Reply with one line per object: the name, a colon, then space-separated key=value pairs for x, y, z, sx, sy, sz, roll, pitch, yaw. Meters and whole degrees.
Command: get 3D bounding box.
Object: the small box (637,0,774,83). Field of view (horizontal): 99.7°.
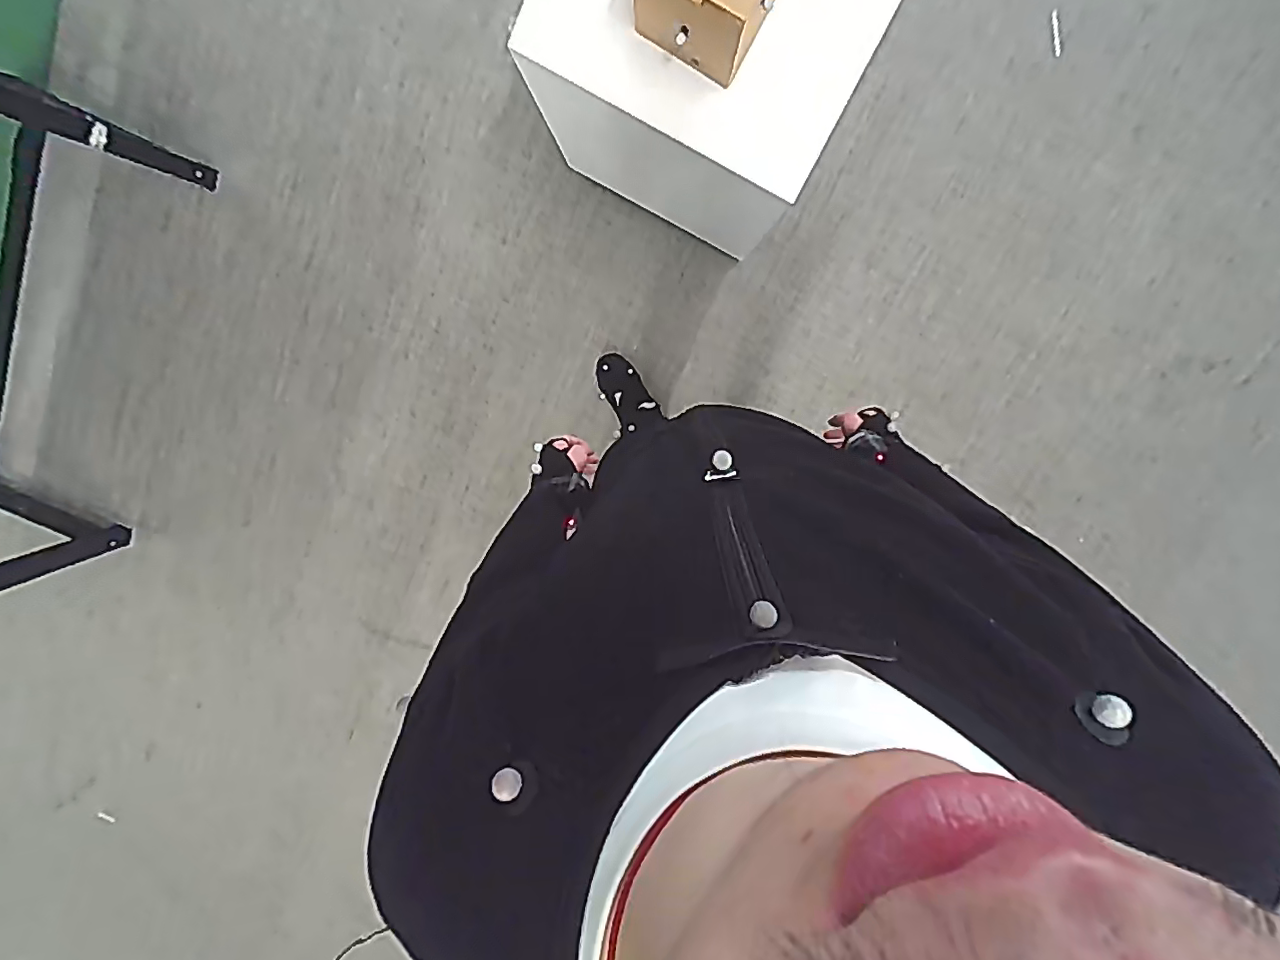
small box: x=0.104 y=-0.696 z=0.735 sx=0.168 sy=0.176 sz=0.179 roll=27 pitch=102 yaw=-4
